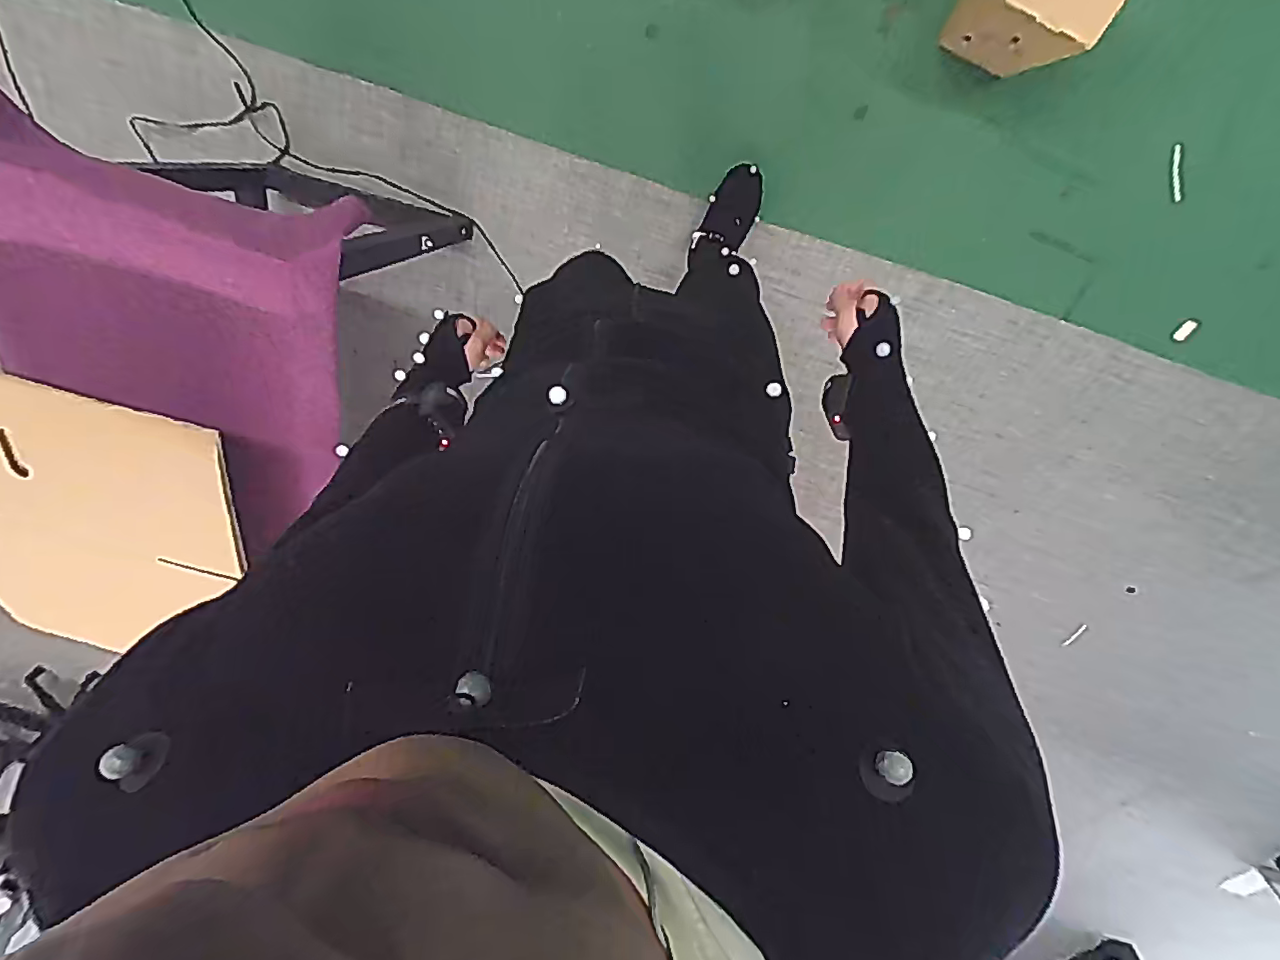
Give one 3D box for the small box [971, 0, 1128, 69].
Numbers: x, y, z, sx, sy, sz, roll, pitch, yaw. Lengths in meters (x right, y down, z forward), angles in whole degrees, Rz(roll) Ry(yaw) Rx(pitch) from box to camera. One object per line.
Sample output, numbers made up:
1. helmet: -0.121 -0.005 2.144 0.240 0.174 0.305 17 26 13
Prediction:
1. small box: 0.690 -0.817 0.885 0.168 0.176 0.179 24 121 -4
